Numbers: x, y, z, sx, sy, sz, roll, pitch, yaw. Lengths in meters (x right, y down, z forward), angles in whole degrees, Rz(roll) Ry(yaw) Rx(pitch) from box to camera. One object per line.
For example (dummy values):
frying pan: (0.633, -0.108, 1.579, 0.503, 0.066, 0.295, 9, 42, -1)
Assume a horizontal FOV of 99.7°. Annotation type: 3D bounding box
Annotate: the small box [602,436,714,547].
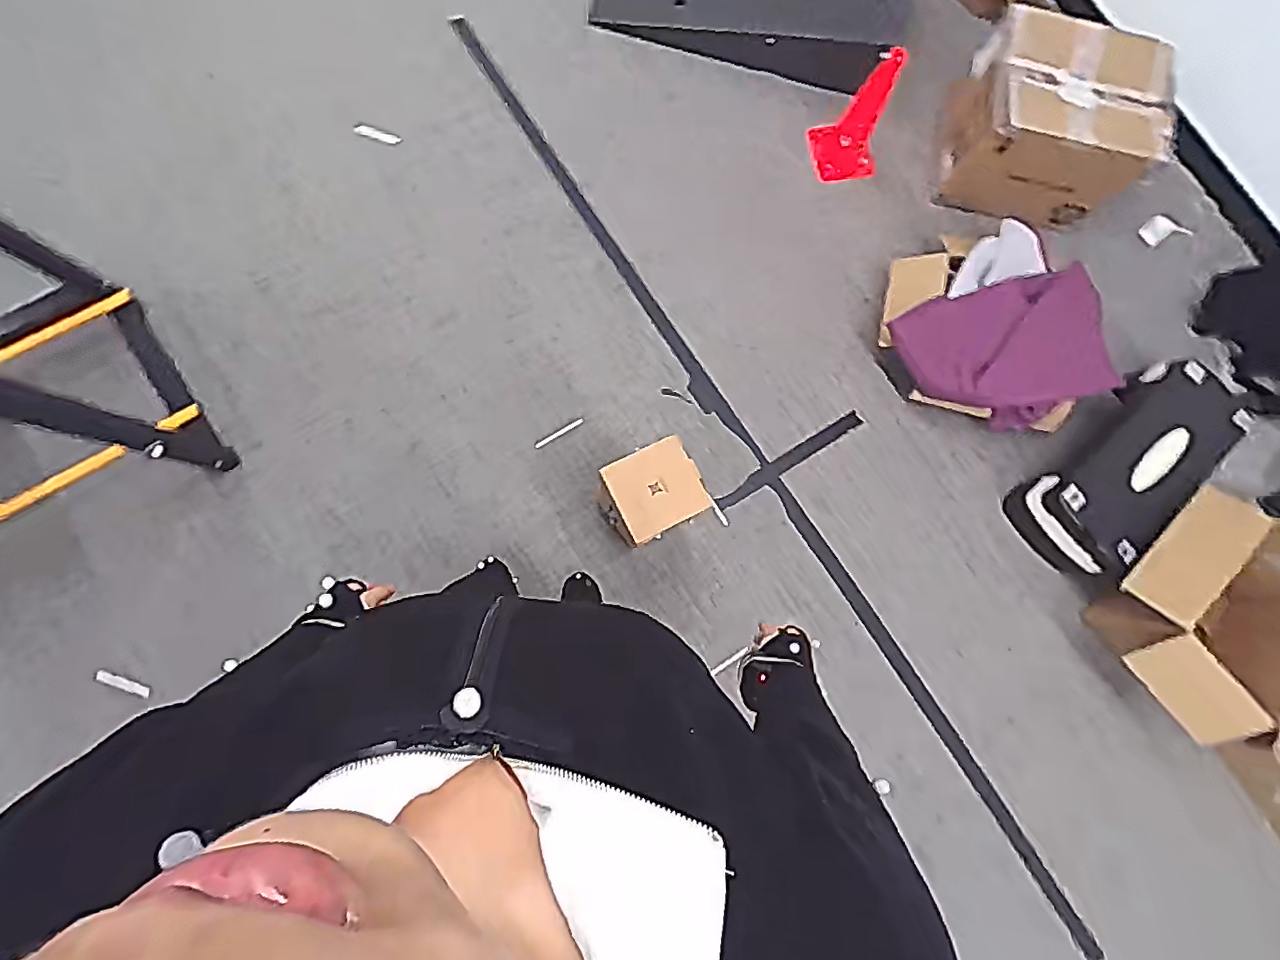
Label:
small box: (0.029, 0.030, 1.133, 0.179, 0.176, 0.168, -26, 84, -7)
